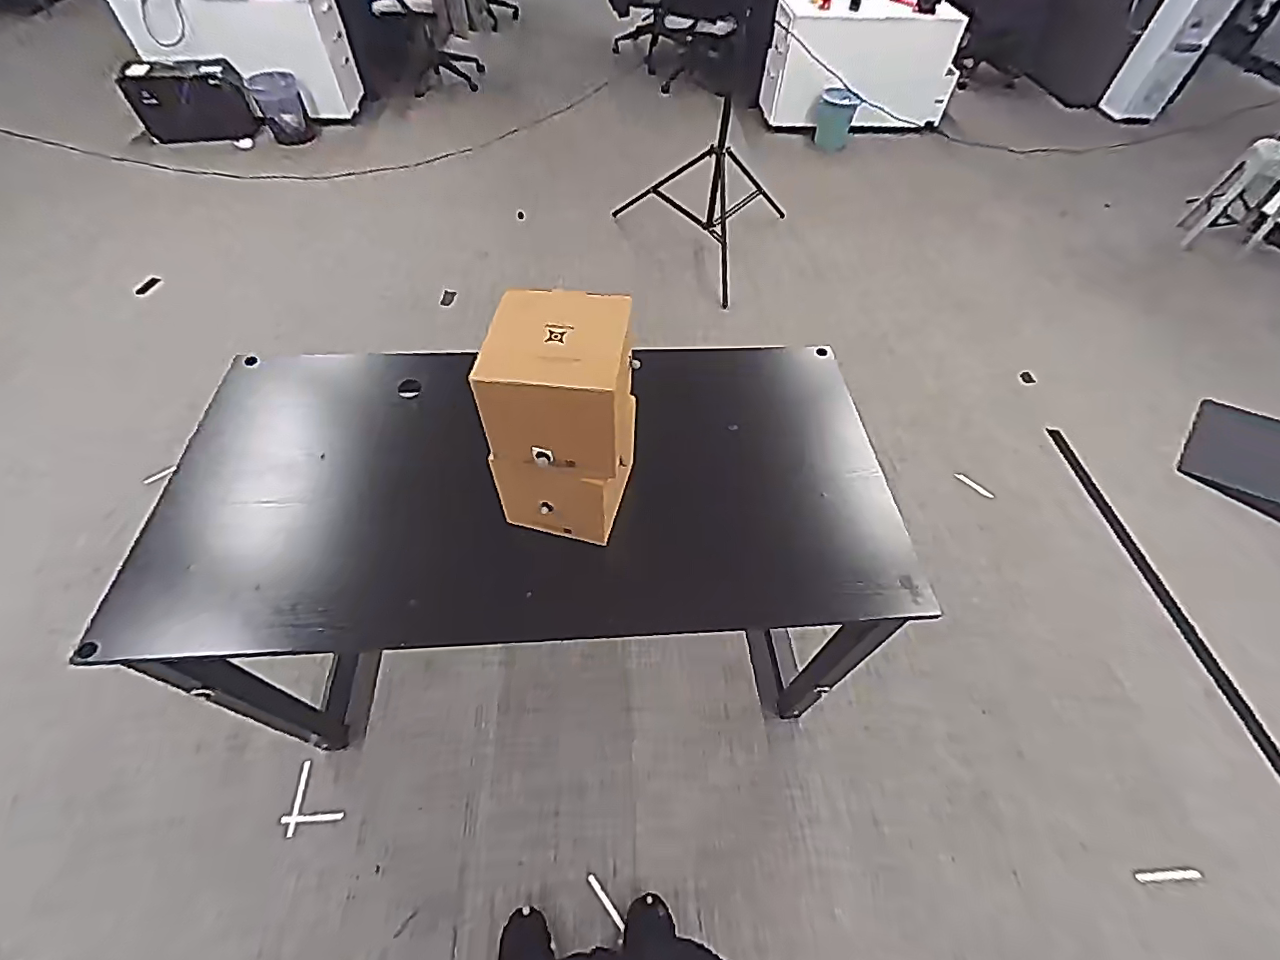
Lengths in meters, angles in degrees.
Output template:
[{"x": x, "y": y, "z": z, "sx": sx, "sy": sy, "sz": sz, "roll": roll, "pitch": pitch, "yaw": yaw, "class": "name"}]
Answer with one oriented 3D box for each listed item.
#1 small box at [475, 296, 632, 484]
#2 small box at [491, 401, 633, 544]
[{"x": -0.101, "y": -0.118, "z": 0.719, "sx": 0.168, "sy": 0.176, "sz": 0.179, "roll": 4, "pitch": 54, "yaw": 2, "class": "small box"}, {"x": -0.111, "y": -0.022, "z": 0.851, "sx": 0.168, "sy": 0.176, "sz": 0.179, "roll": 13, "pitch": 54, "yaw": 6, "class": "small box"}]
